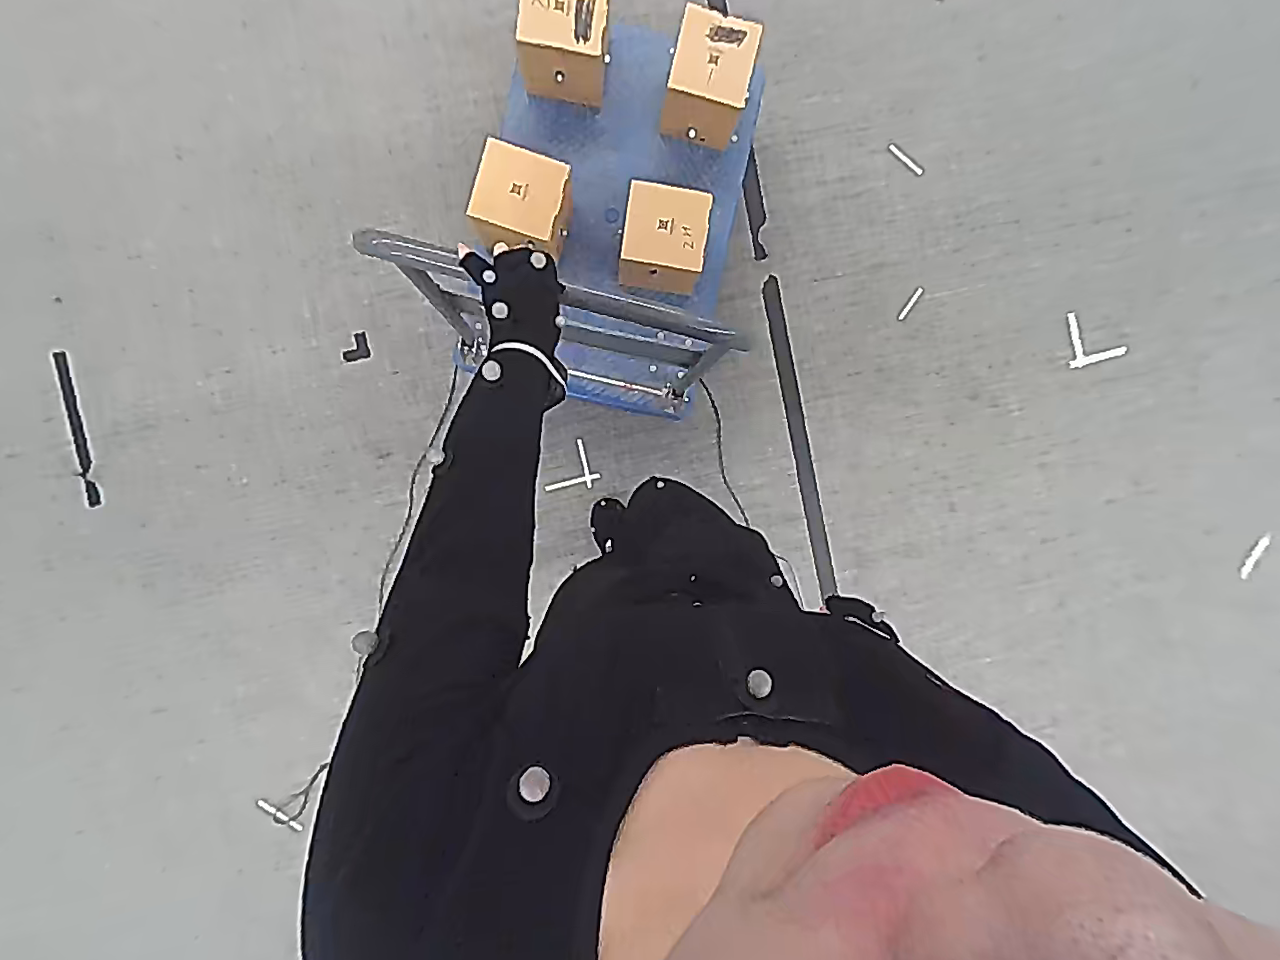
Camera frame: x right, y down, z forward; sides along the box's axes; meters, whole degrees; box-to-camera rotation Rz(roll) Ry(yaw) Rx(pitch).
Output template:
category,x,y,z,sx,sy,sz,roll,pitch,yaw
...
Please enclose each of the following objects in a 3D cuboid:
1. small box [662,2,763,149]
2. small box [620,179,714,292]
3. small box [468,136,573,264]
category,x,y,z,sx,sy,sz,roll,pitch,yaw
small box,0.152,-0.880,1.193,0.168,0.176,0.179,14,93,-5
small box,0.051,-0.532,1.202,0.179,0.176,0.168,9,92,-4
small box,-0.251,-0.595,1.176,0.179,0.176,0.168,16,90,-7
